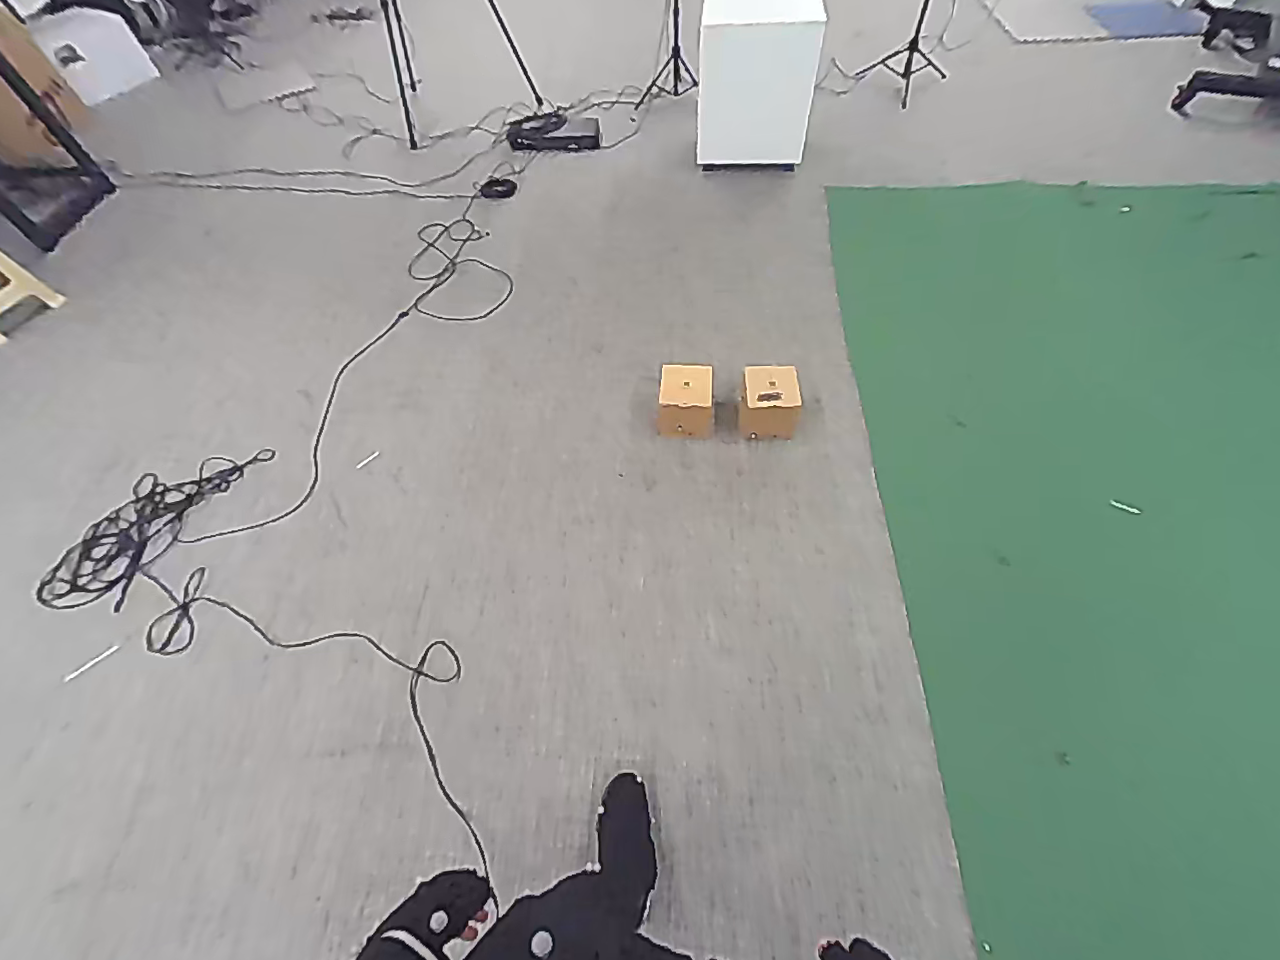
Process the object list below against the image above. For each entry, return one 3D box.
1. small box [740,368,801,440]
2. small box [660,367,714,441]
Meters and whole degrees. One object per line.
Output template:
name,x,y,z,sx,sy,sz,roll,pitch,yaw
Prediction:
small box,0.422,-0.244,1.767,0.168,0.176,0.179,0,56,3
small box,0.155,-0.252,1.788,0.168,0.176,0.179,3,57,5
